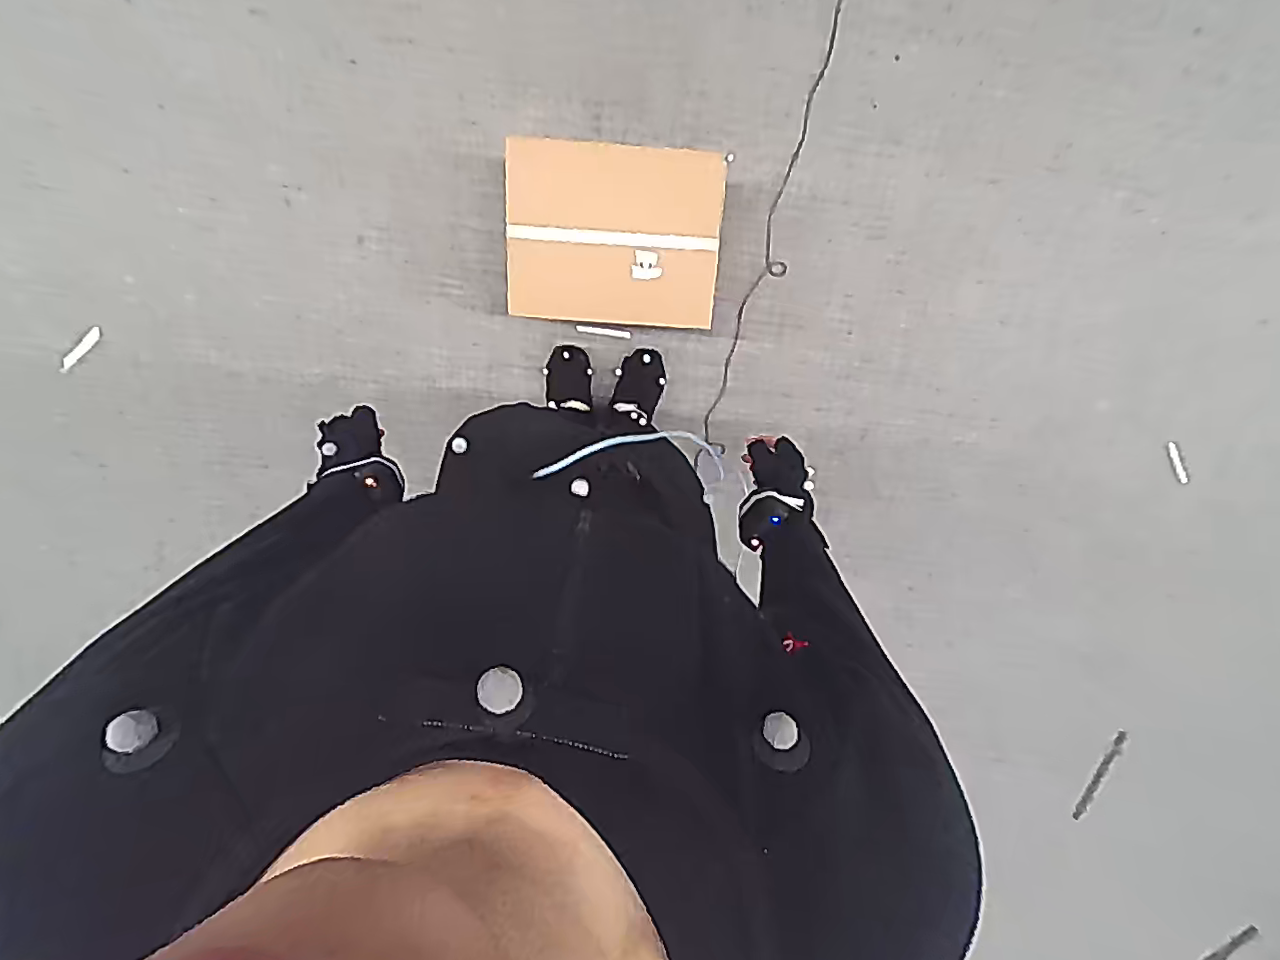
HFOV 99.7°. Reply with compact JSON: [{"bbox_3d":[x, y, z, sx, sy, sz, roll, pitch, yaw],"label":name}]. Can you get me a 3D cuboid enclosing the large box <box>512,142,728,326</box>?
[{"bbox_3d":[-0.047,-0.511,1.178,0.408,0.320,0.320,3,110,-2],"label":"large box"}]
